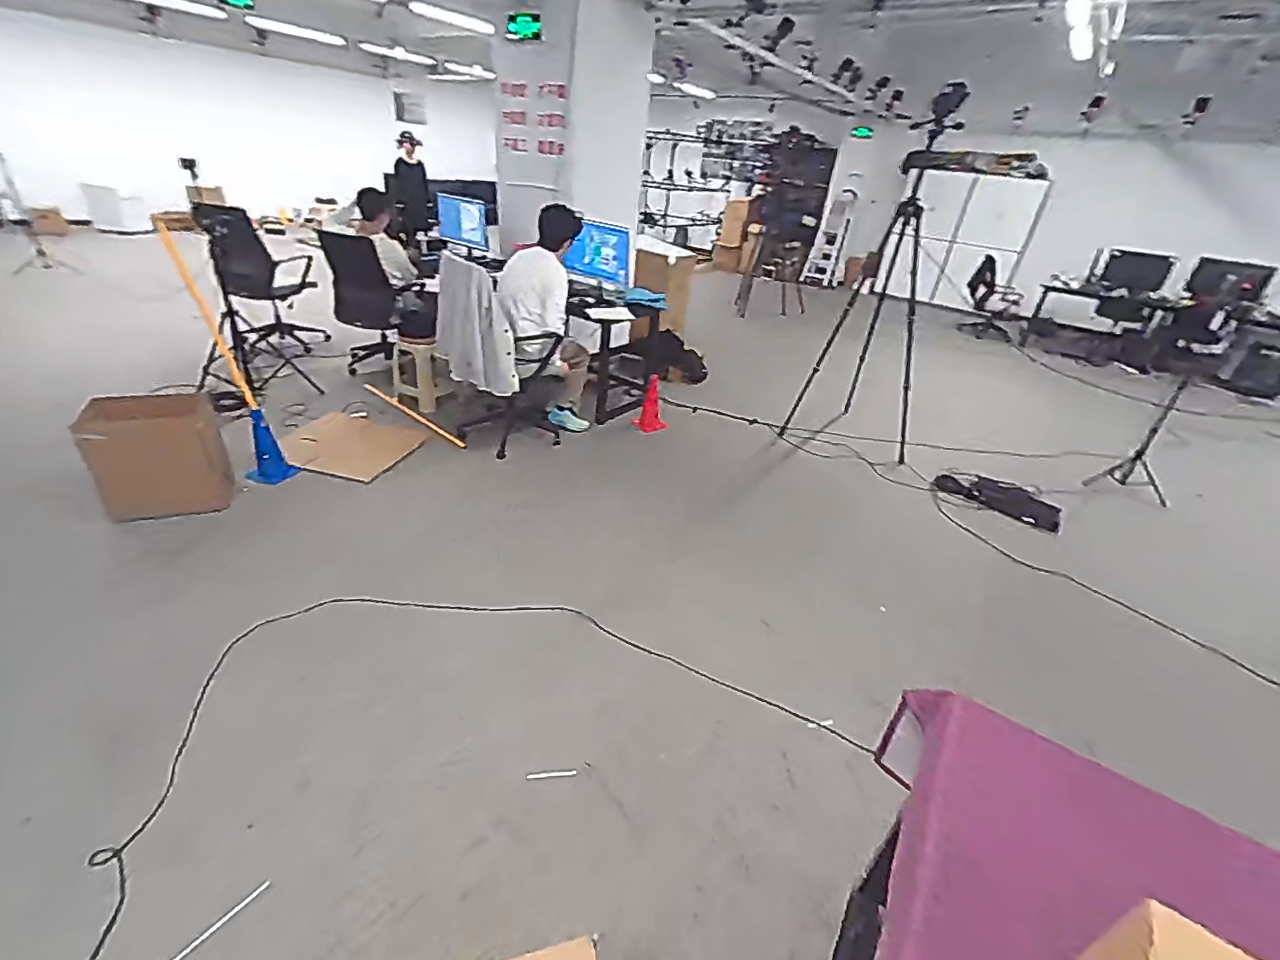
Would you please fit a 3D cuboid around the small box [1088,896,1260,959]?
[{"bbox_3d":[0.580,0.595,0.549,0.179,0.176,0.168,25,36,30],"label":"small box"}]
